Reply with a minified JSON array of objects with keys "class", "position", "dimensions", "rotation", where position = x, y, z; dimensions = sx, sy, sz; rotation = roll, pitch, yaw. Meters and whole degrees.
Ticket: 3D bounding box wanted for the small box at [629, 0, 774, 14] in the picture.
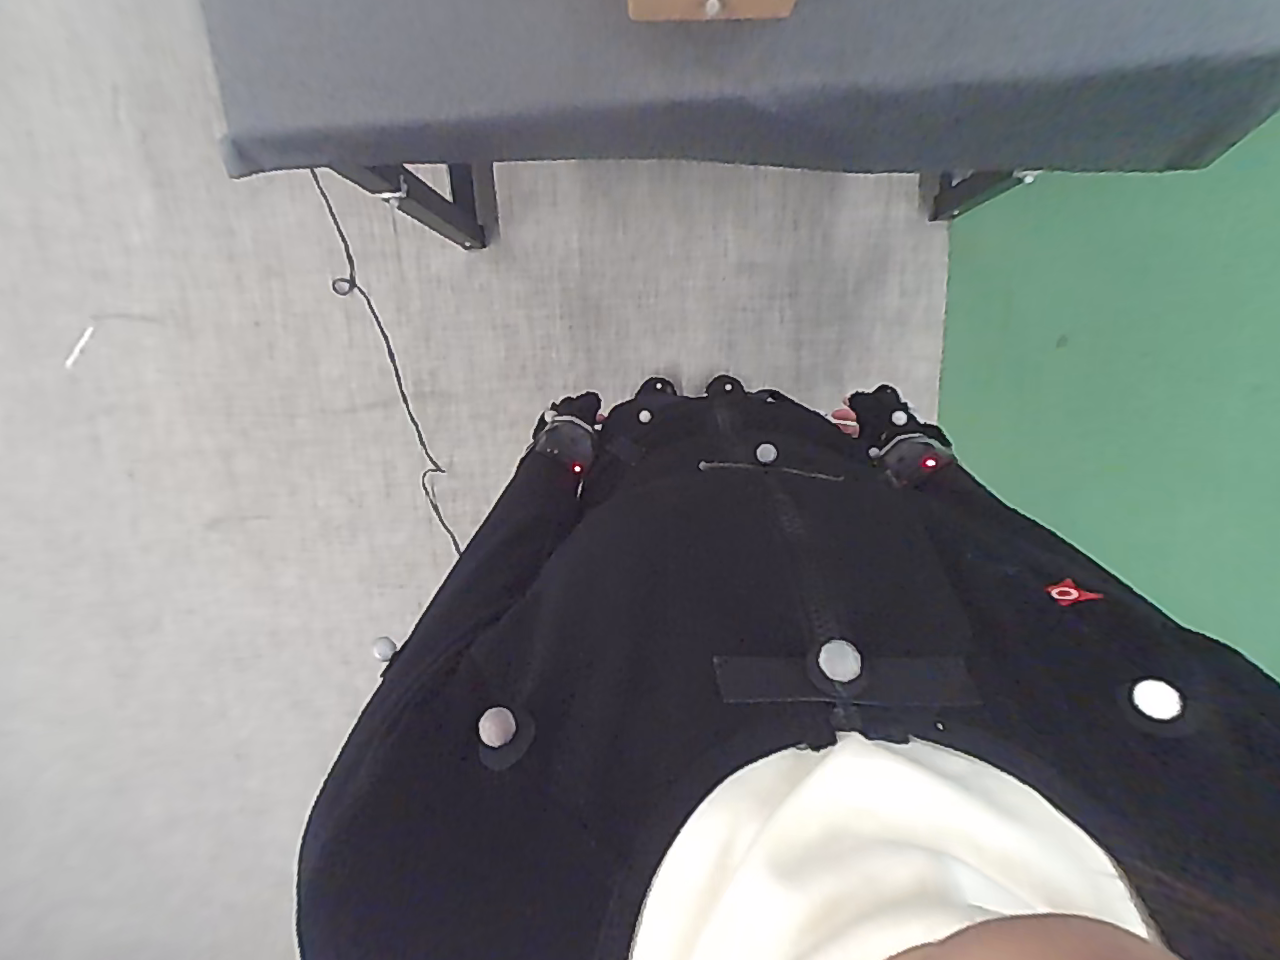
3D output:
[{"class":"small box","position":[0.072,-0.573,0.496],"dimensions":[0.179,0.176,0.168],"rotation":[0,101,2]}]
